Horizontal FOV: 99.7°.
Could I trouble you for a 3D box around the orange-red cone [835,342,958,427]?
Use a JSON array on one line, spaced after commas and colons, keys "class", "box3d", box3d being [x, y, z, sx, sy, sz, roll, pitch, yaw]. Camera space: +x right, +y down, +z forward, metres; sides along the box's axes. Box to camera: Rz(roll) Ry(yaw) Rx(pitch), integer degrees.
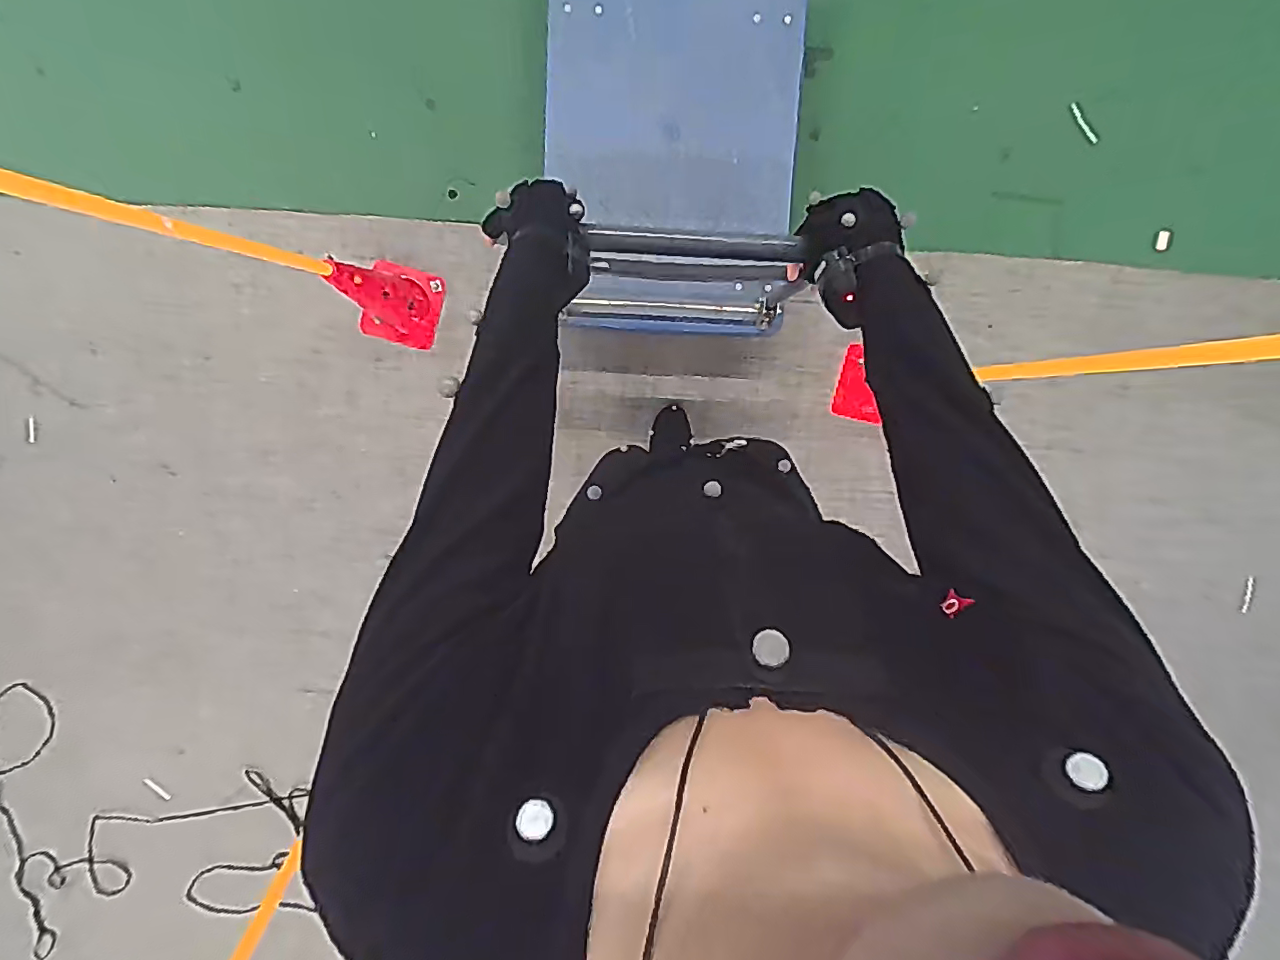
[{"class": "orange-red cone", "box3d": [0.642, -0.237, 1.291, 0.198, 0.360, 0.199, 14, 97, -1]}]
